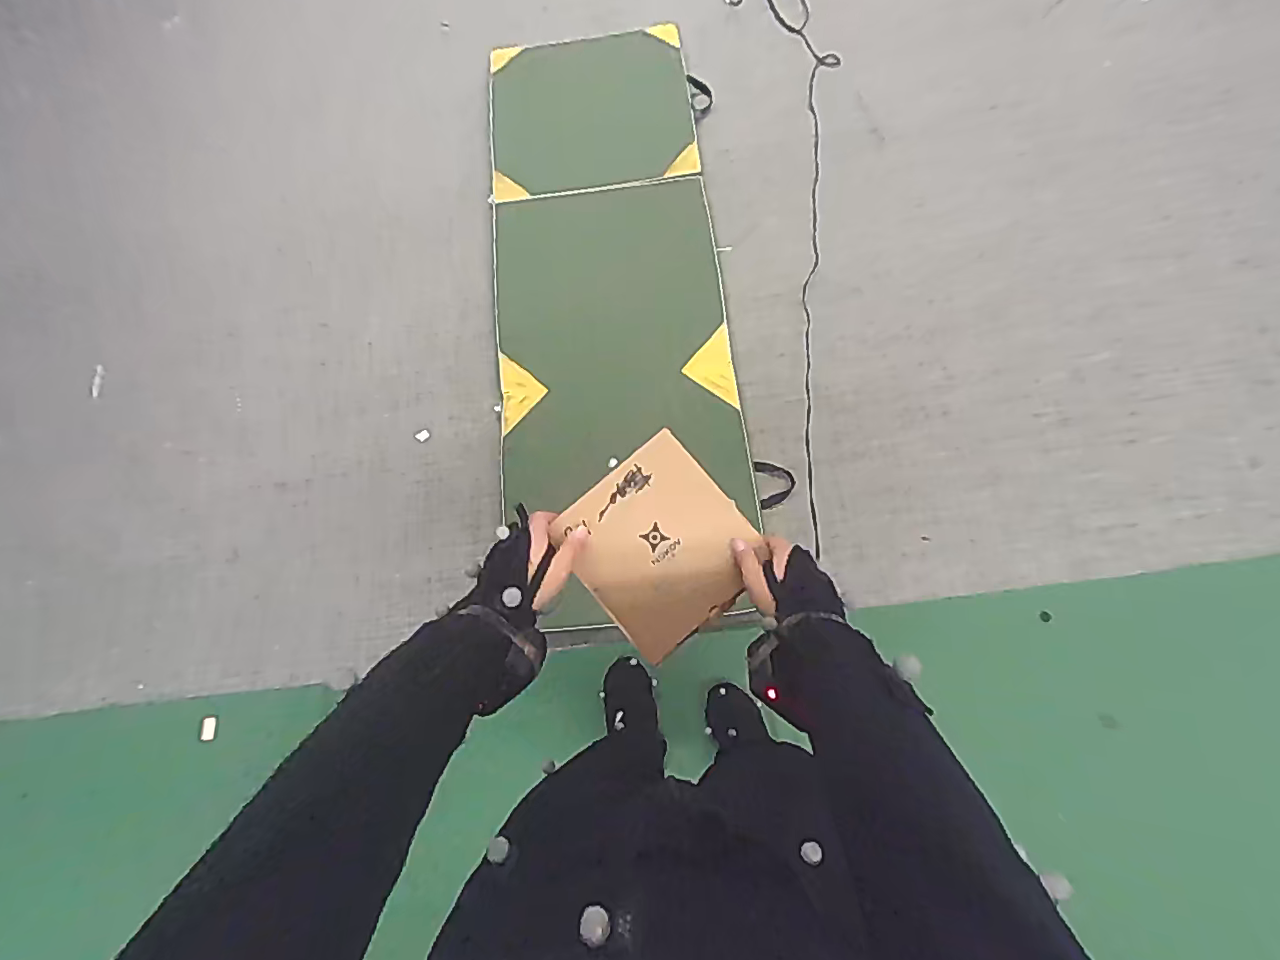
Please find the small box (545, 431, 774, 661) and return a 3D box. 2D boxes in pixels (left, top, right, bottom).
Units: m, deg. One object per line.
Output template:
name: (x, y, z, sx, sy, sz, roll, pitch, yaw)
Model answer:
small box: (0.022, 0.072, 0.620, 0.168, 0.176, 0.179, -39, 83, -4)
